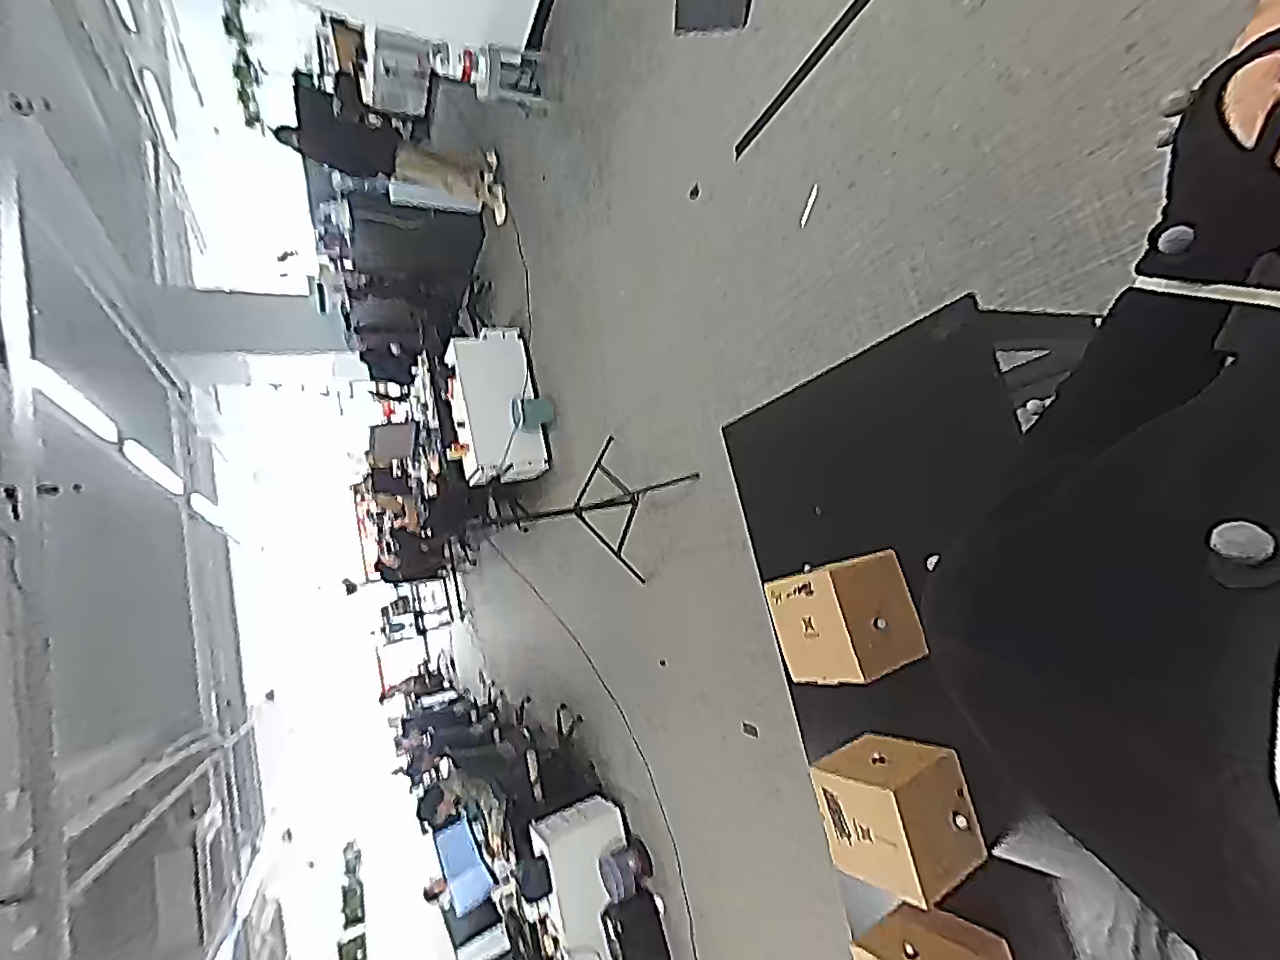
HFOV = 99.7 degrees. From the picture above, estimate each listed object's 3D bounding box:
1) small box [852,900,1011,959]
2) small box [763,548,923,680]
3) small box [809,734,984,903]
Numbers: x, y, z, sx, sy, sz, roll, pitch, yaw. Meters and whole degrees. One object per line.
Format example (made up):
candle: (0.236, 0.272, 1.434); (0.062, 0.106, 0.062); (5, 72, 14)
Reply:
small box: (0.482, 0.818, 0.862); (0.179, 0.176, 0.168); (-31, 69, 59)
small box: (0.351, 0.232, 0.939); (0.168, 0.176, 0.179); (-35, 68, 57)
small box: (0.420, 0.540, 0.897); (0.179, 0.176, 0.168); (-29, 73, 58)
